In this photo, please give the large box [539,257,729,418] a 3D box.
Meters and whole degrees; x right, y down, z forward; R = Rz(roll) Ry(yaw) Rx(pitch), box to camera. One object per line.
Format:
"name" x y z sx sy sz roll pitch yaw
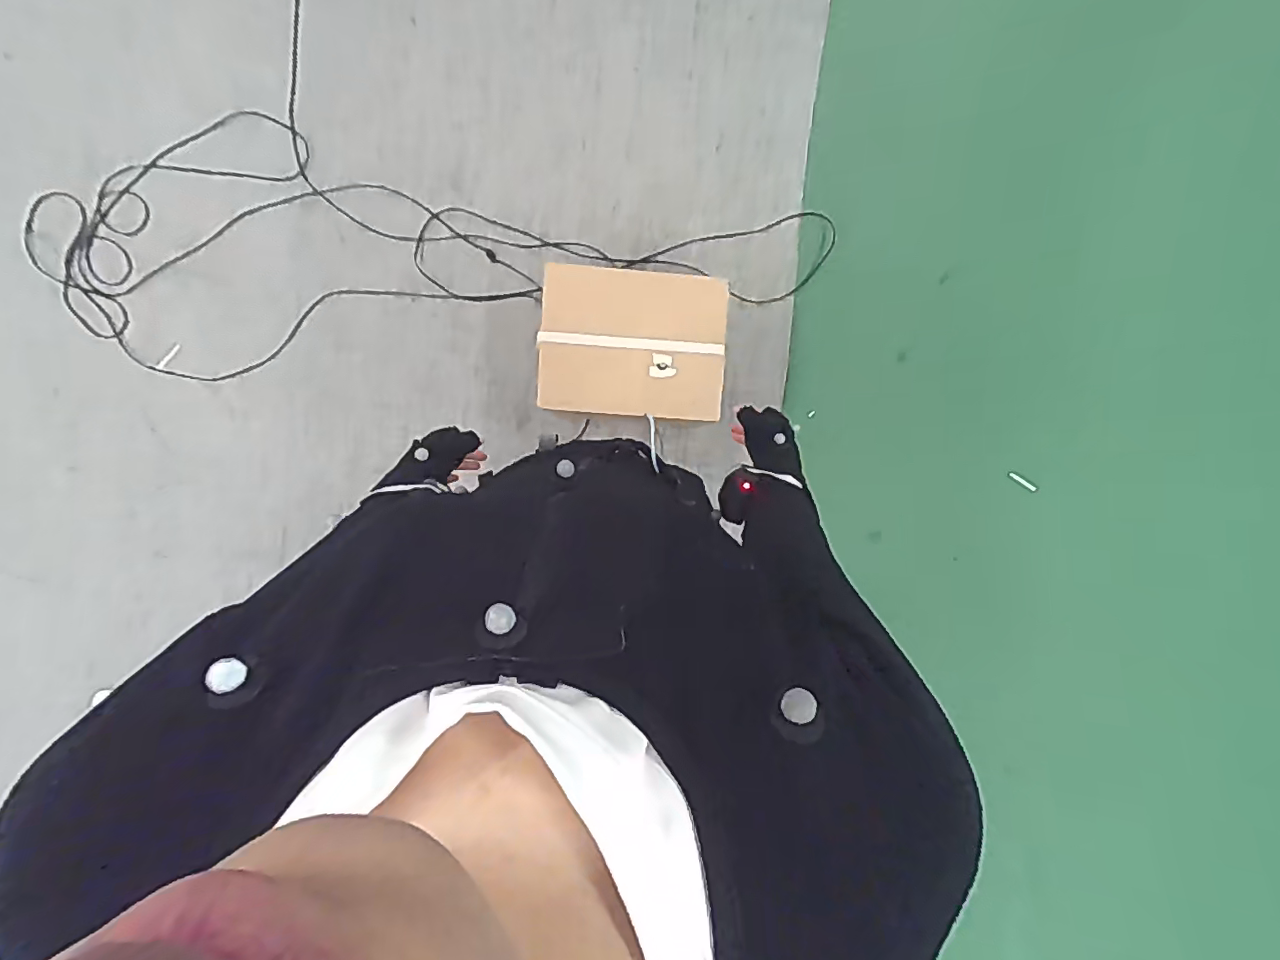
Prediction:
"large box" -0.023 -0.321 1.316 0.408 0.320 0.320 4 94 -3
